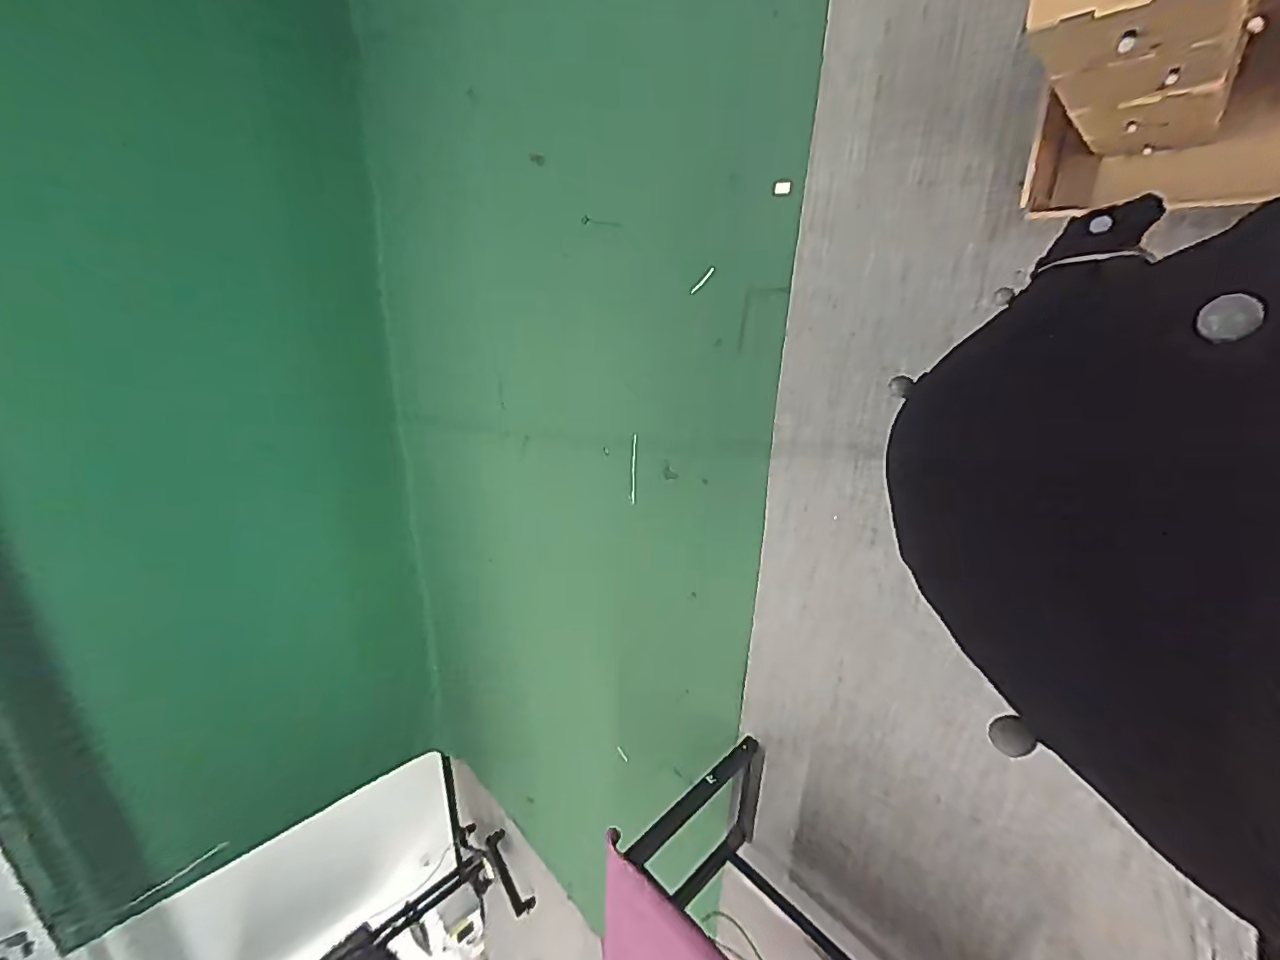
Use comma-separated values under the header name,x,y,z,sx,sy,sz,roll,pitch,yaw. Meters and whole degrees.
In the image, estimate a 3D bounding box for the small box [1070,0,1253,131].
name,x,y,z,sx,sy,sz,roll,pitch,yaw
small box,0.760,-0.638,0.787,0.168,0.176,0.179,18,116,41

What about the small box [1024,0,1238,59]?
name,x,y,z,sx,sy,sz,roll,pitch,yaw
small box,0.530,-0.574,0.562,0.168,0.176,0.179,16,115,41

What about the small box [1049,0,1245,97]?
name,x,y,z,sx,sy,sz,roll,pitch,yaw
small box,0.644,-0.608,0.675,0.168,0.176,0.179,16,114,41
